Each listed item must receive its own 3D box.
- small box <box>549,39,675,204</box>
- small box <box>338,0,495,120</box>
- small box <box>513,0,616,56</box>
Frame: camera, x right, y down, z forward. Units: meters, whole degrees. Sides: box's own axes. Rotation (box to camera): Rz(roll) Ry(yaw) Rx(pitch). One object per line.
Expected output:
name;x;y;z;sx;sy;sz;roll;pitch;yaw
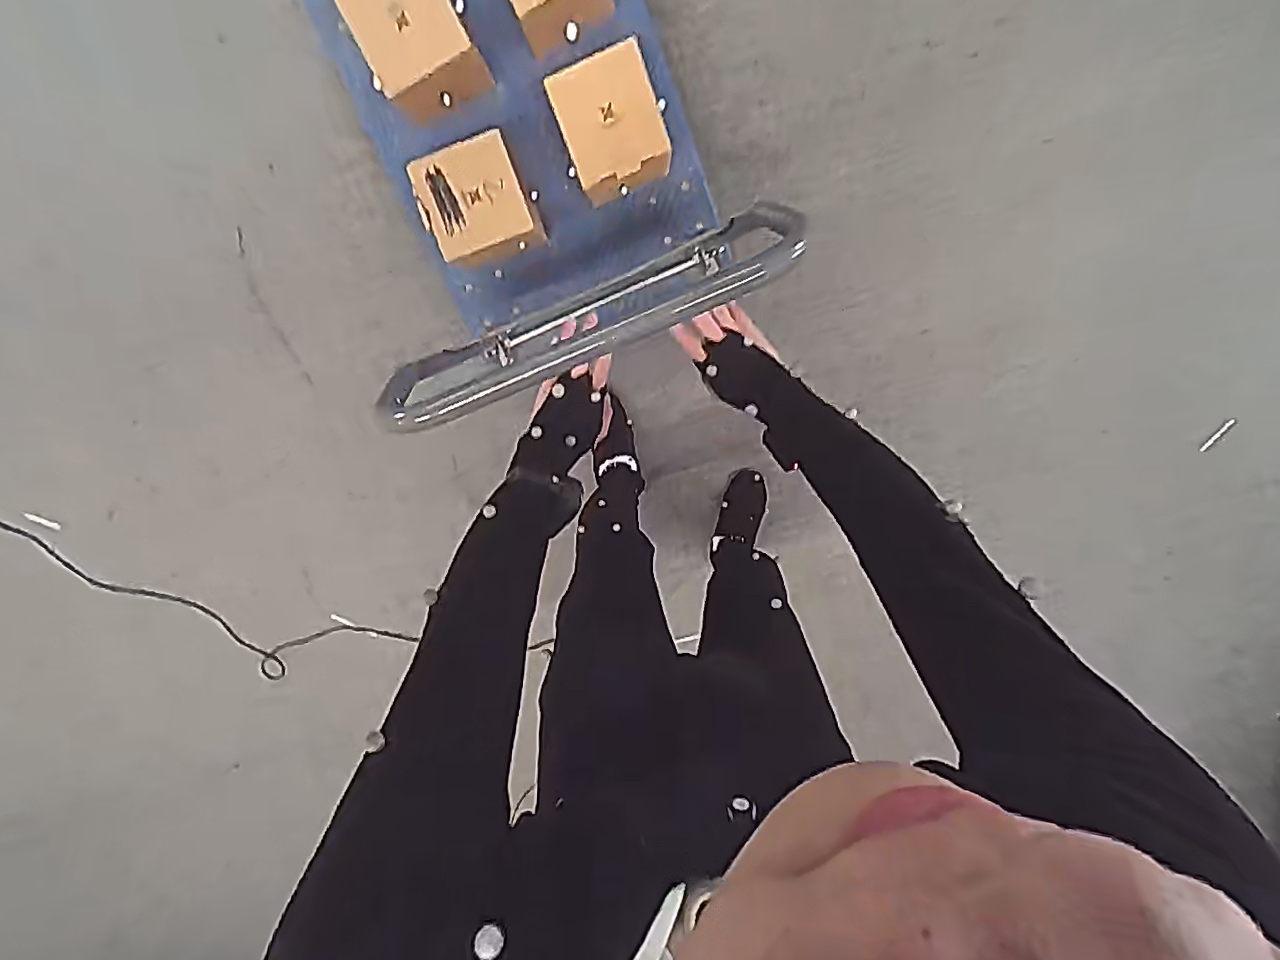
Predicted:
small box;-0.047;-0.631;0.977;0.168;0.176;0.179;-21;107;6
small box;-0.377;-0.762;0.936;0.168;0.176;0.179;-25;106;7
small box;-0.151;-0.869;0.900;0.168;0.176;0.179;-25;107;9
